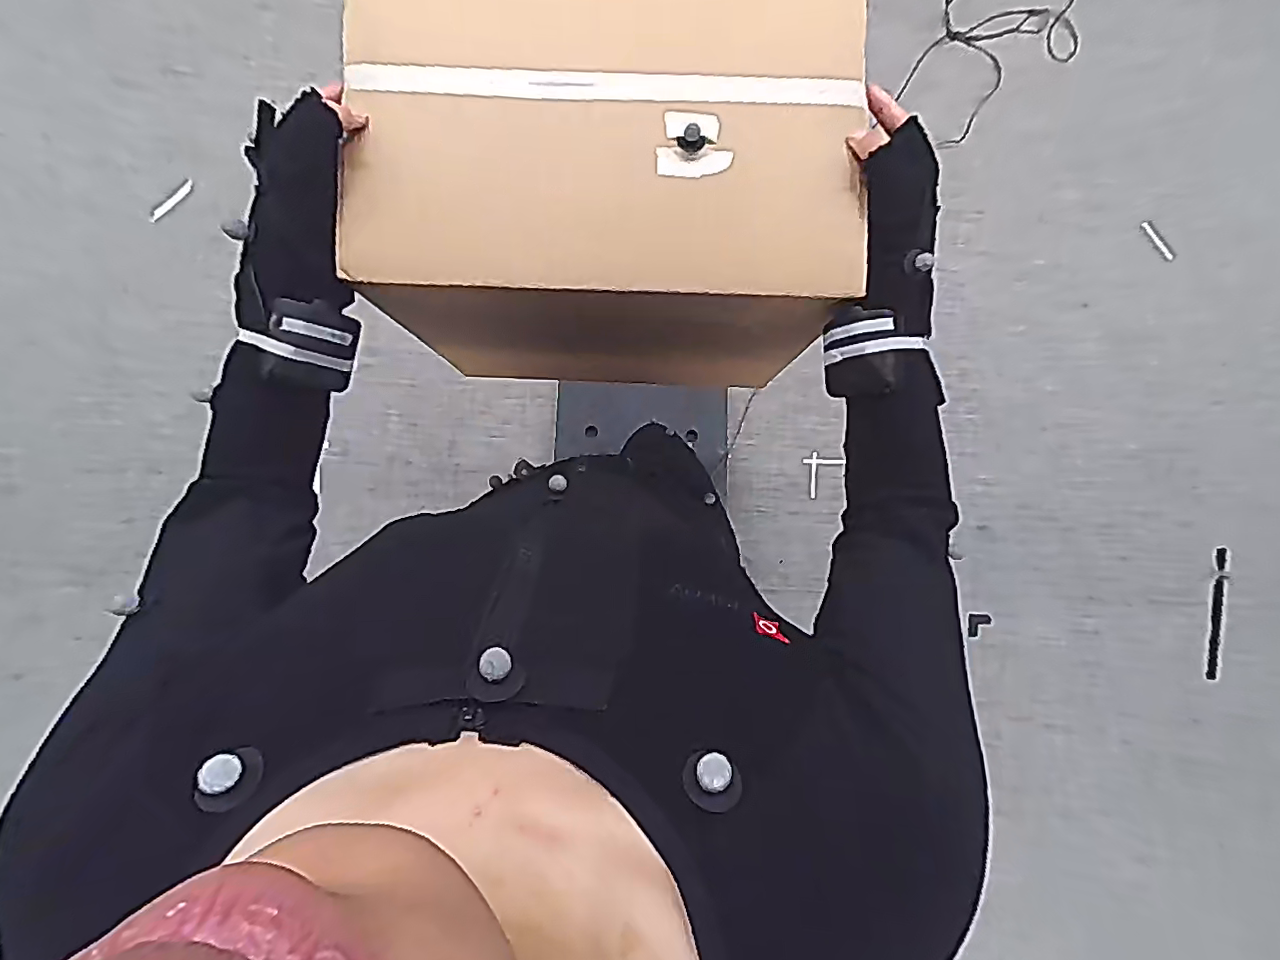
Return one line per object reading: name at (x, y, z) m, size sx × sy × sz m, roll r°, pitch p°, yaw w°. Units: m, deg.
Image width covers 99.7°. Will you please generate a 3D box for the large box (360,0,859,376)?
large box at (-0.025, -0.302, 0.585) m, size 0.408 × 0.320 × 0.320 m, roll 2°, pitch 87°, yaw -1°
